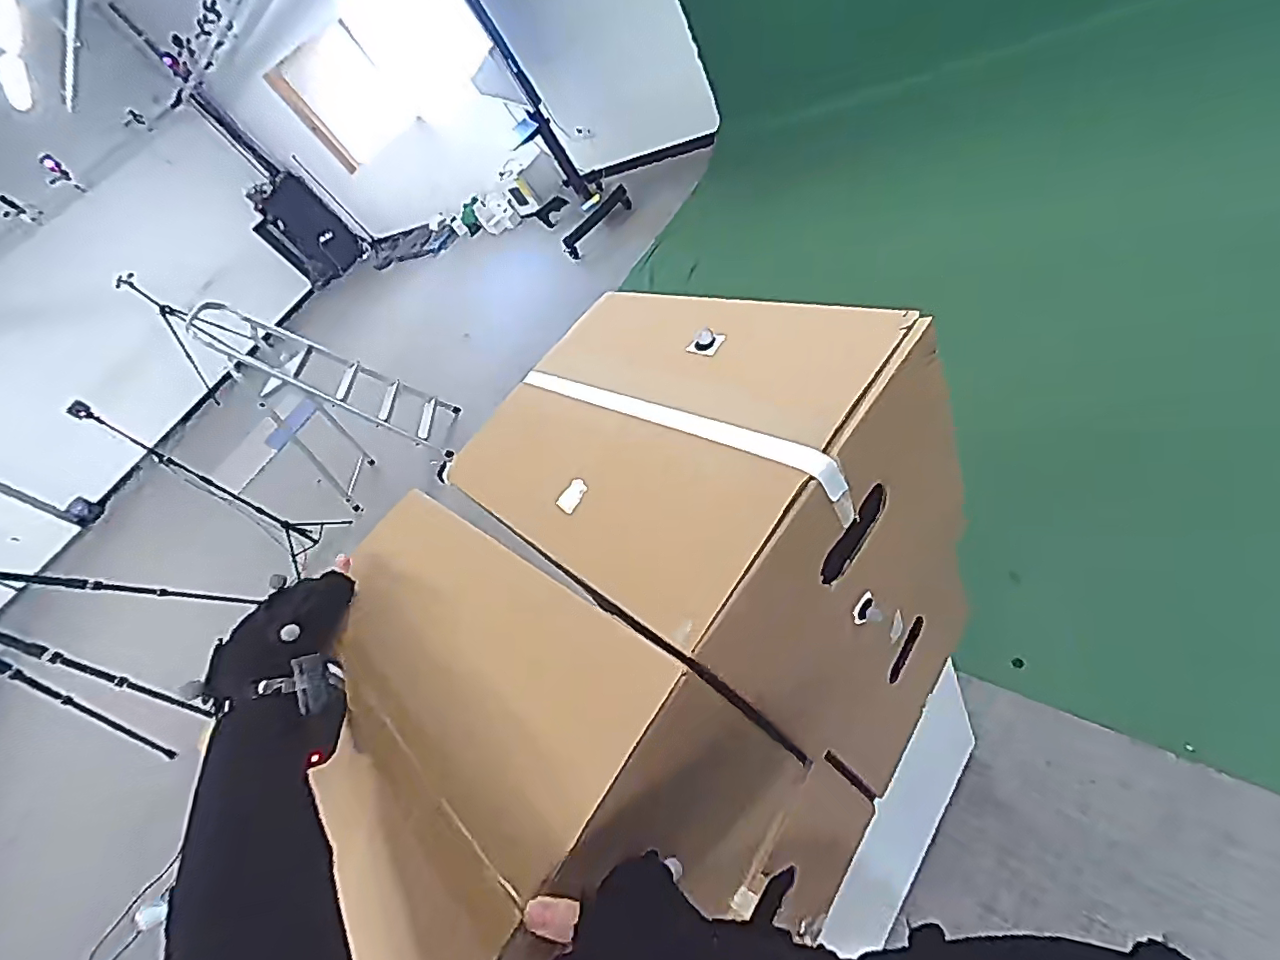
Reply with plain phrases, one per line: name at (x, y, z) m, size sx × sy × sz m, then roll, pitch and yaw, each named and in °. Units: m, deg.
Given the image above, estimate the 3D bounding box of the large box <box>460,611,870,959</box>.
large box at (0.038, 0.446, 0.753) m, size 0.408 × 0.320 × 0.320 m, roll 16°, pitch 64°, yaw 46°
